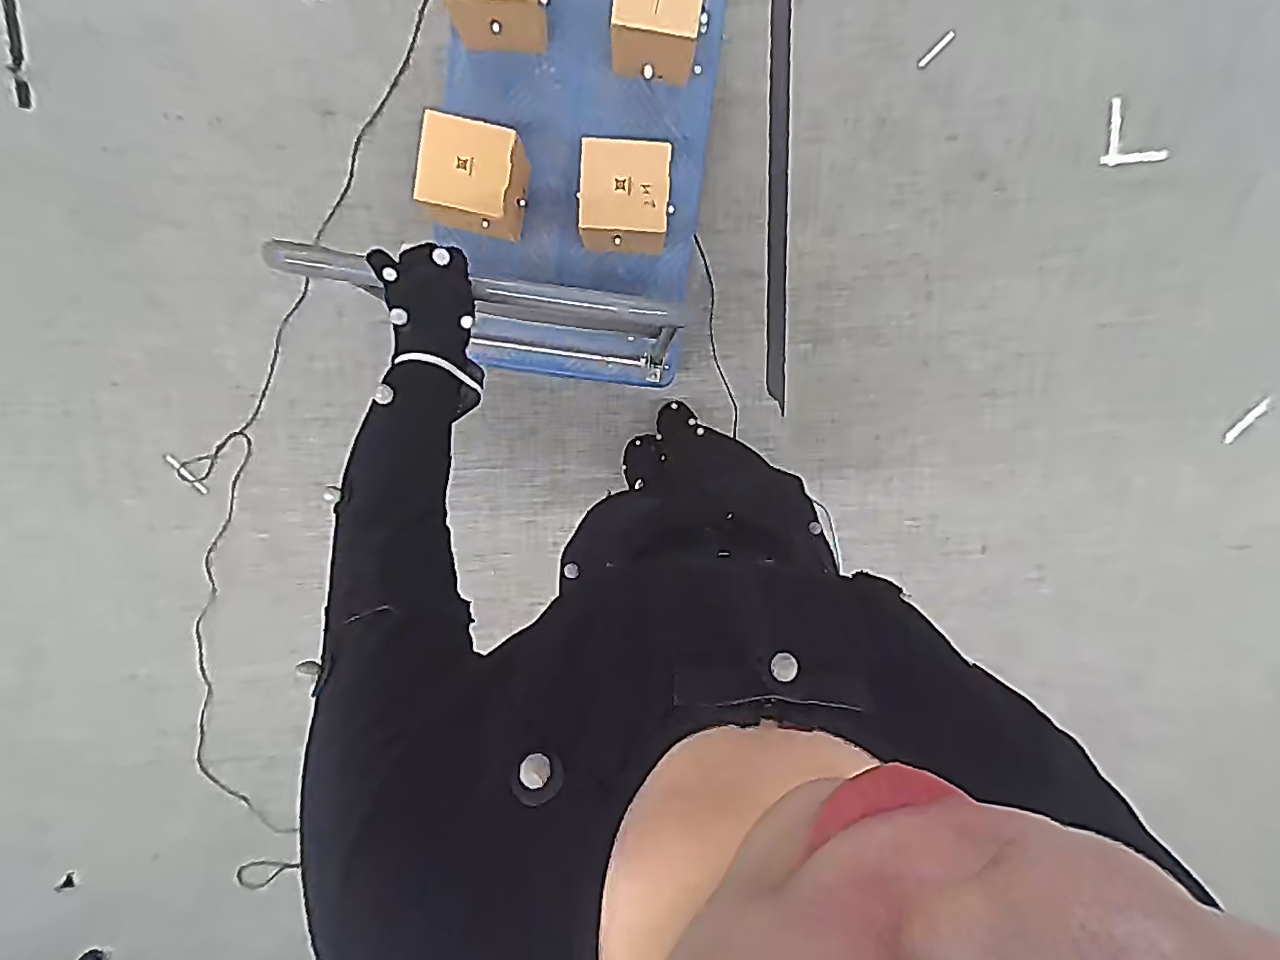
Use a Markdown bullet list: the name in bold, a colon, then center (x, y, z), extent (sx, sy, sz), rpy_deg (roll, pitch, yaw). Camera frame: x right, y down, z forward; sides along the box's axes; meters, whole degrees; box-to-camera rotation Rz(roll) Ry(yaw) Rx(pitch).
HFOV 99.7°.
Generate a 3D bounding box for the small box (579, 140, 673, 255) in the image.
- **small box**: center (-0.028, -0.579, 1.126), extent (0.179, 0.176, 0.168), rpy_deg (3, 99, -1)

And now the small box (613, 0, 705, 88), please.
- **small box**: center (0.040, -0.930, 1.072), extent (0.168, 0.176, 0.179), rpy_deg (8, 100, -2)

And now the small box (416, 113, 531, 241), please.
- **small box**: center (-0.336, -0.613, 1.117), extent (0.179, 0.176, 0.168), rpy_deg (11, 98, -4)
